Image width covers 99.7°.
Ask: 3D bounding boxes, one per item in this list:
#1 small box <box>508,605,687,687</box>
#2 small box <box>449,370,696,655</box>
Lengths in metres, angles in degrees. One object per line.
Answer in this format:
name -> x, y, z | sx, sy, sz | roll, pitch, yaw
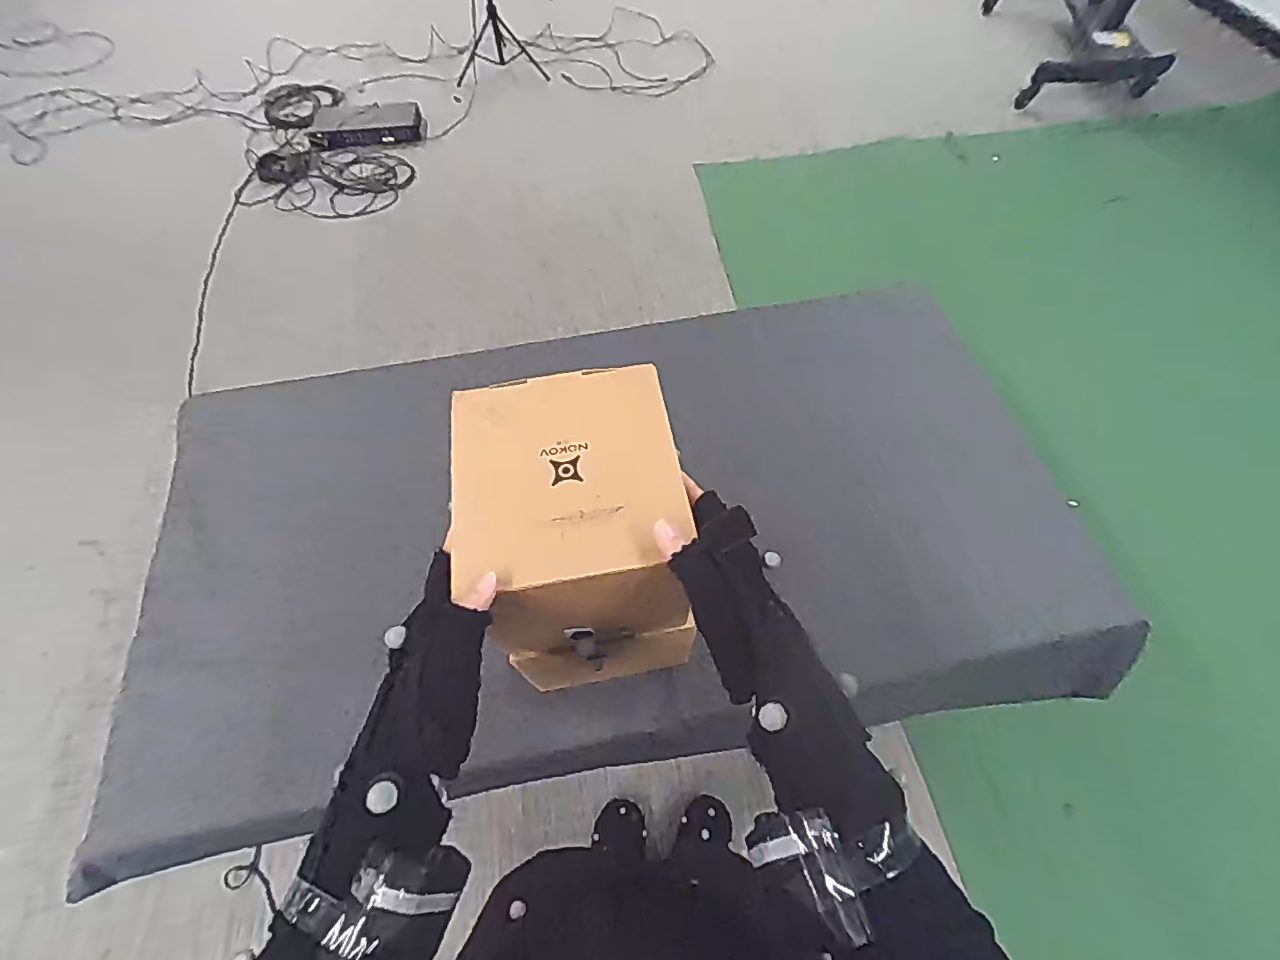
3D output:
small box -> -0.051, 0.129, 0.621 | 0.179, 0.176, 0.168 | -9, 61, -5
small box -> -0.056, 0.033, 0.465 | 0.168, 0.176, 0.179 | -8, 60, -5
